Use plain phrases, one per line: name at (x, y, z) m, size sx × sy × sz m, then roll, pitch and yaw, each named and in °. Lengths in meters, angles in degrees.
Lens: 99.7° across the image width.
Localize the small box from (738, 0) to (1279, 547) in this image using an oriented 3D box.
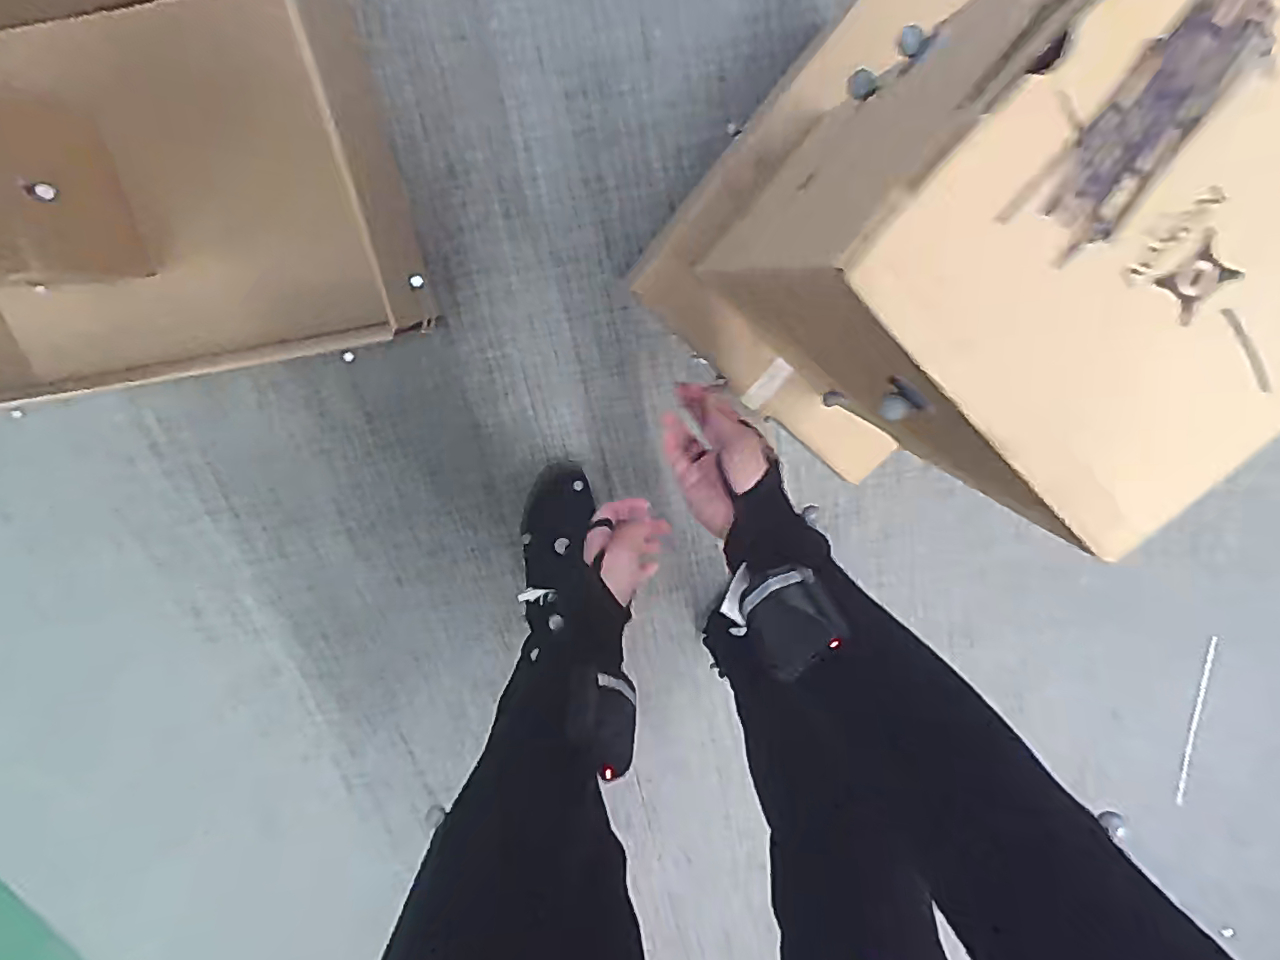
small box at (0.172, -0.107, 0.256) m, size 0.179 × 0.176 × 0.168 m, roll 39°, pitch 104°, yaw -16°

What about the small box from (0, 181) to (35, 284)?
small box at (-0.678, -0.249, 0.434) m, size 0.168 × 0.176 × 0.179 m, roll -4°, pitch 112°, yaw -5°

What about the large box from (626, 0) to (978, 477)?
large box at (0.223, -0.282, 0.631) m, size 0.320 × 0.320 × 0.408 m, roll 37°, pitch 103°, yaw -16°

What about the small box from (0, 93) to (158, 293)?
small box at (-0.695, -0.301, 0.588) m, size 0.168 × 0.176 × 0.179 m, roll -8°, pitch 112°, yaw -4°
